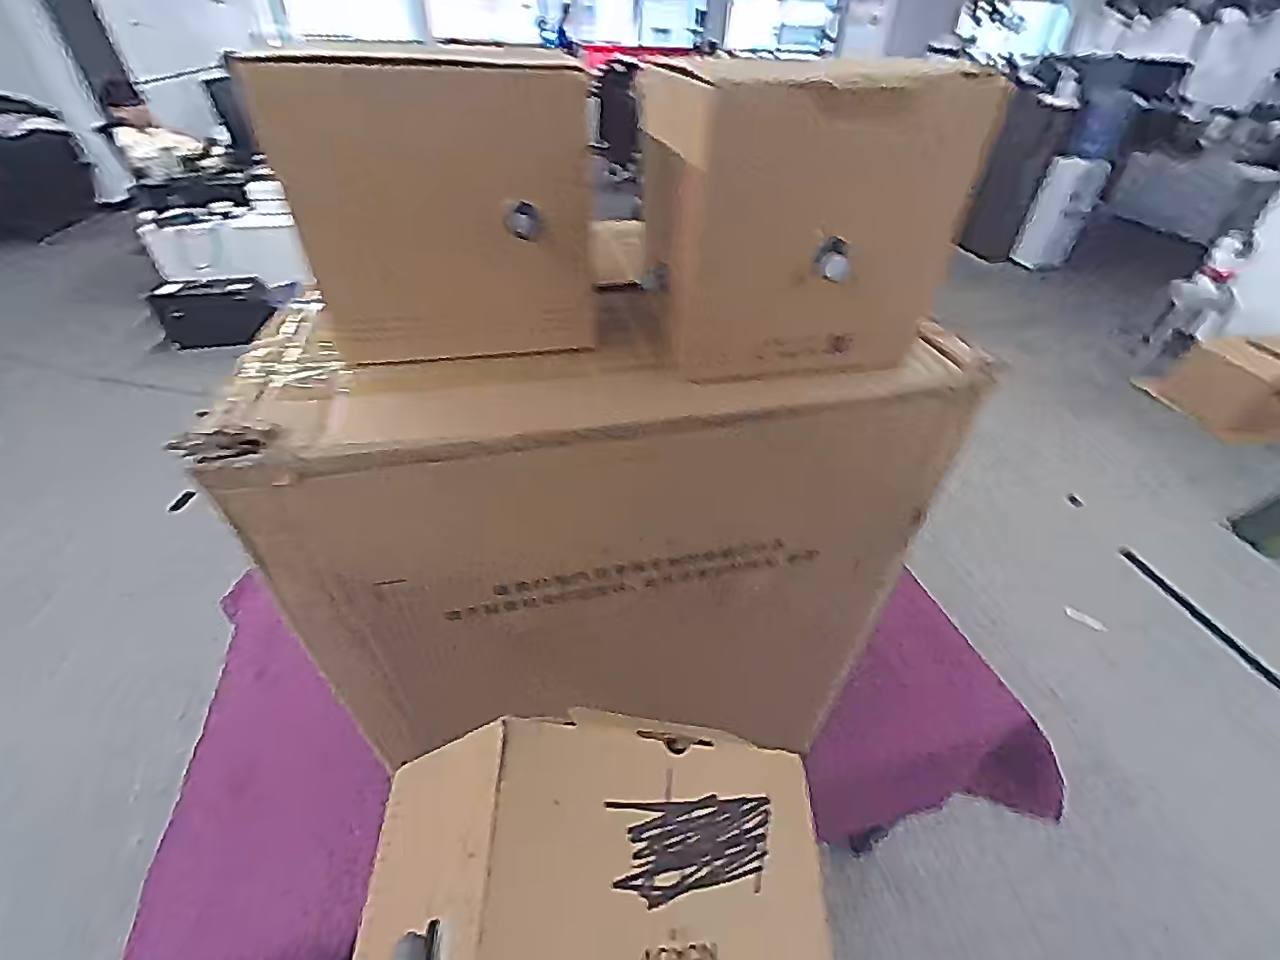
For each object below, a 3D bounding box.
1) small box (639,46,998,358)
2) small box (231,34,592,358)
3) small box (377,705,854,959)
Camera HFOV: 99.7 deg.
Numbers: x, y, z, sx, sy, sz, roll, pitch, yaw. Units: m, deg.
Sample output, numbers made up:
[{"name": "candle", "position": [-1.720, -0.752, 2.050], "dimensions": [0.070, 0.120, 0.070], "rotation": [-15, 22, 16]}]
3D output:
[{"name": "small box", "position": [0.095, -0.197, 0.387], "dimensions": [0.168, 0.176, 0.179], "rotation": [-7, 41, -9]}, {"name": "small box", "position": [-0.131, -0.202, 0.383], "dimensions": [0.179, 0.176, 0.168], "rotation": [-8, 41, -11]}, {"name": "small box", "position": [-0.021, 0.223, 0.250], "dimensions": [0.168, 0.176, 0.179], "rotation": [21, 49, -26]}]
